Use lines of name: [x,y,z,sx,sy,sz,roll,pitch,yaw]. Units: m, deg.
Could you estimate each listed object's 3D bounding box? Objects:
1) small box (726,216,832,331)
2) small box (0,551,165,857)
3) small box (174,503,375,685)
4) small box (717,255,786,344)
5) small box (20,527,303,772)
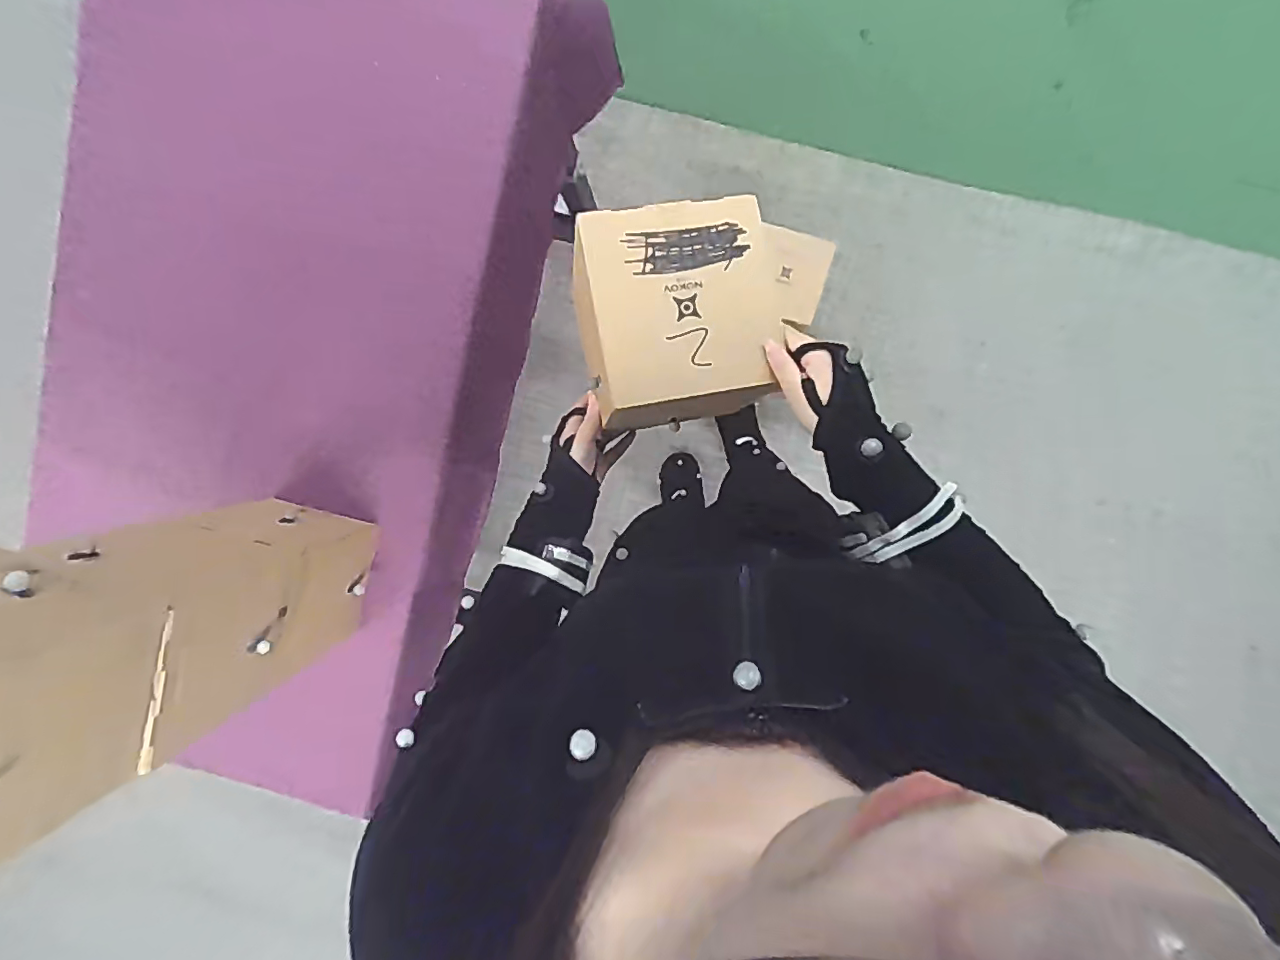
small box: [0.293,-0.440,1.185,0.168,0.176,0.179,16,97,0]
small box: [-0.506,0.172,0.397,0.168,0.176,0.179,16,97,1]
small box: [-0.484,0.138,0.724,0.168,0.176,0.179,13,97,2]
small box: [0.297,-0.453,1.348,0.168,0.176,0.179,19,97,0]
small box: [-0.497,0.157,0.561,0.179,0.176,0.168,15,98,1]
